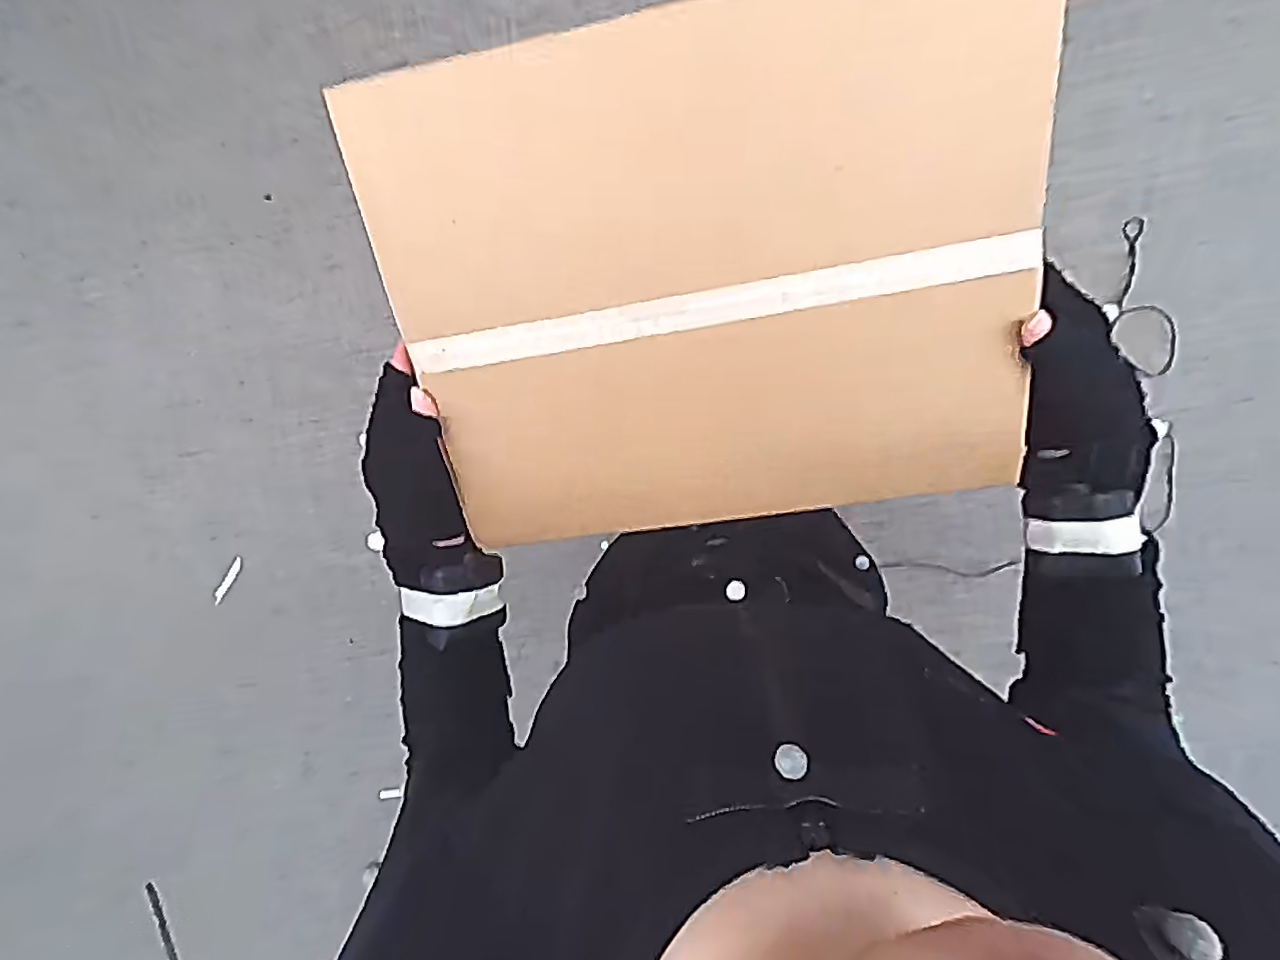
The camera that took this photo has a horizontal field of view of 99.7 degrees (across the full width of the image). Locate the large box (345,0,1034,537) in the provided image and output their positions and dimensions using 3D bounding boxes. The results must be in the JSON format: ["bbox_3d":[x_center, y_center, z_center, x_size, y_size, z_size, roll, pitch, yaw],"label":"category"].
[{"bbox_3d":[0.050,-0.179,0.495,0.408,0.320,0.320,-8,111,8],"label":"large box"}]
